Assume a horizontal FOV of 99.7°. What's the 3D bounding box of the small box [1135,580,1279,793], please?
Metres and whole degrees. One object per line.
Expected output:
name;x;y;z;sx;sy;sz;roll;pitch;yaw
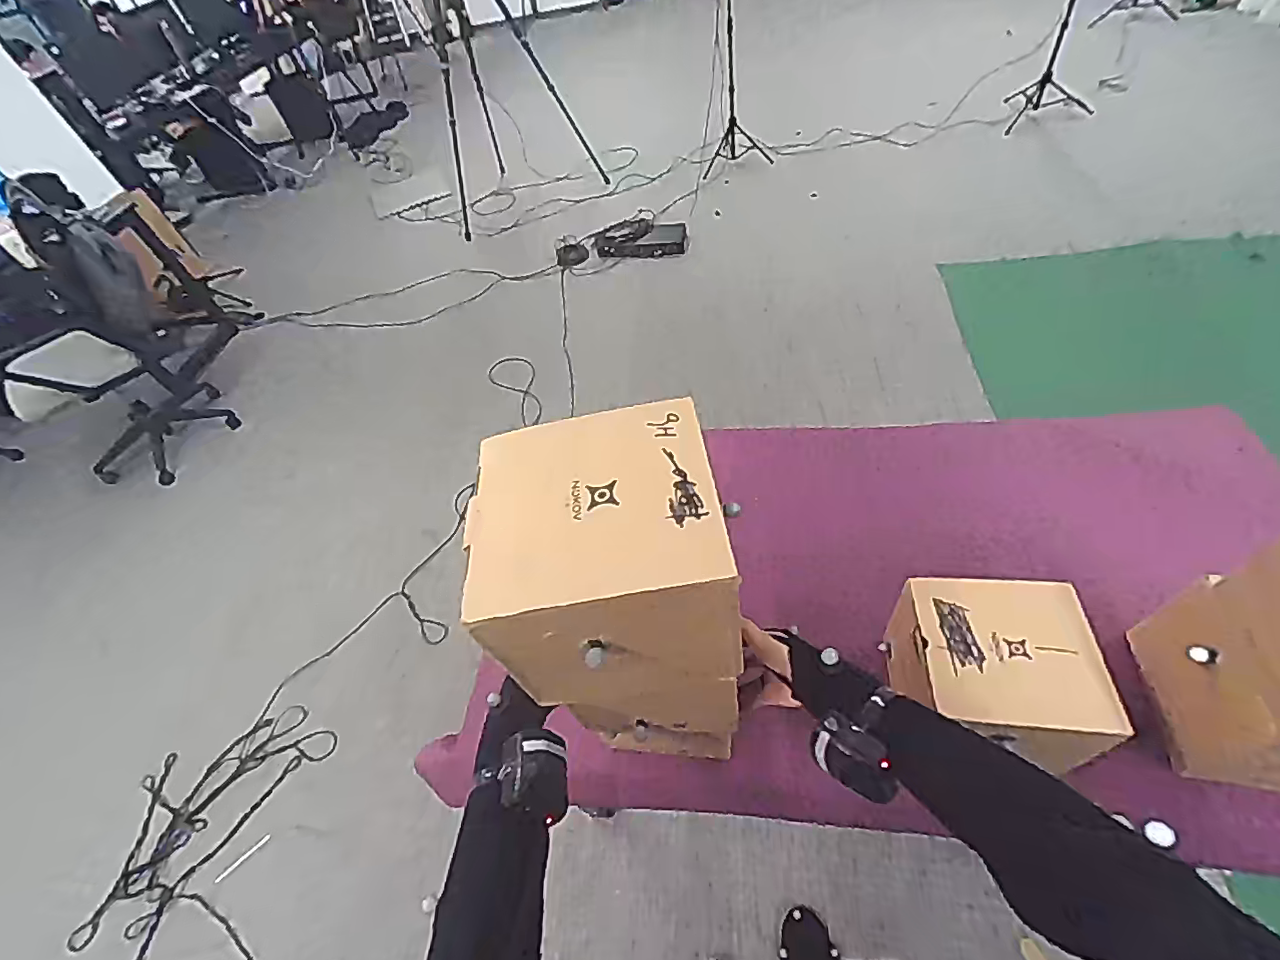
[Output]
small box;0.694;0.231;0.581;0.168;0.176;0.179;3;52;15

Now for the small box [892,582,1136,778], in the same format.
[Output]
small box;0.408;0.236;0.636;0.179;0.176;0.168;0;50;12

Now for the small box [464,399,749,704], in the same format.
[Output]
small box;-0.017;0.065;0.436;0.179;0.176;0.168;-11;50;4

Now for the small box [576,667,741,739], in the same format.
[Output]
small box;0.017;0.157;0.568;0.168;0.176;0.179;-5;51;8
